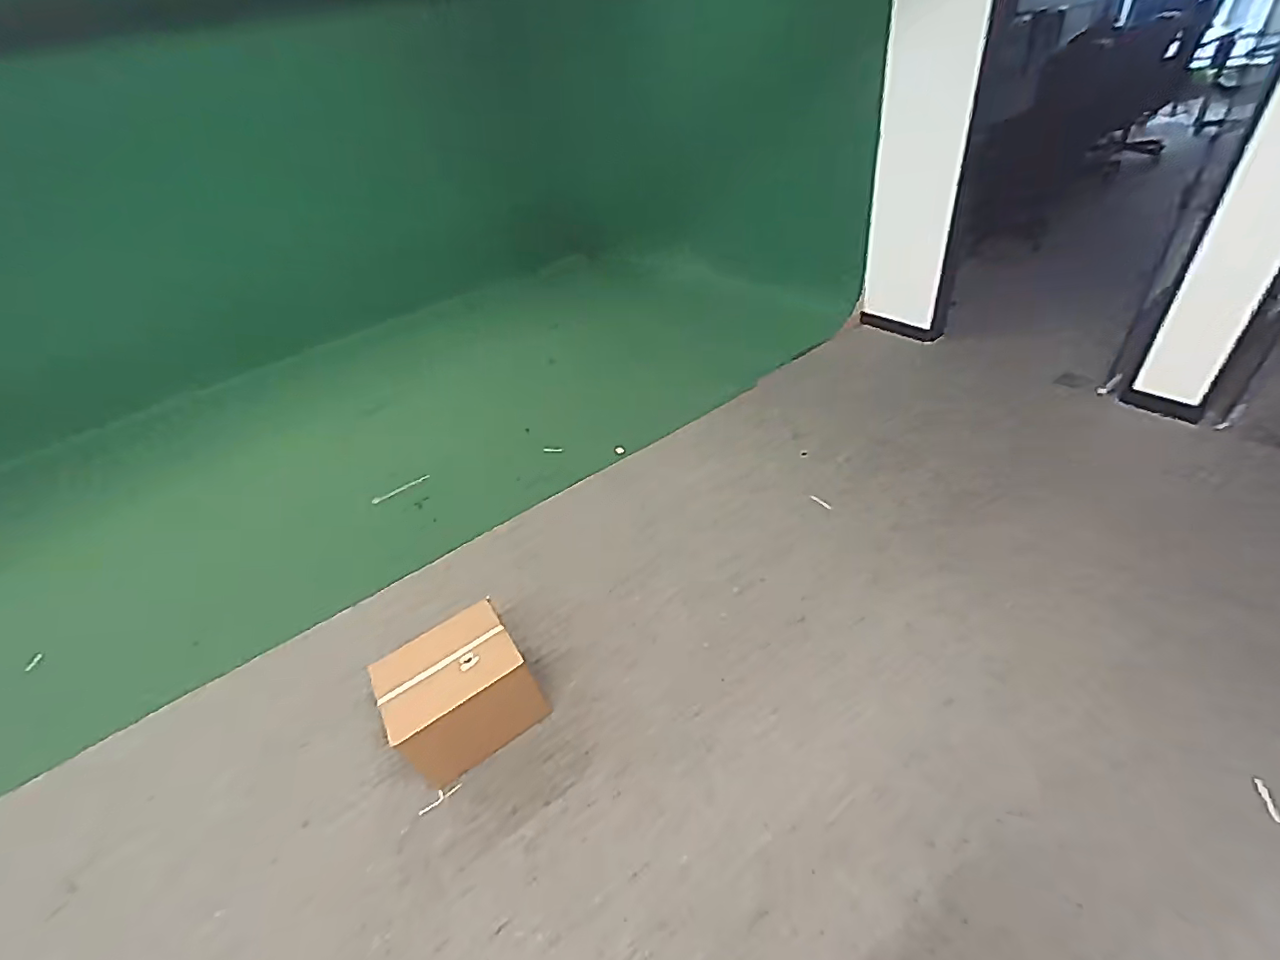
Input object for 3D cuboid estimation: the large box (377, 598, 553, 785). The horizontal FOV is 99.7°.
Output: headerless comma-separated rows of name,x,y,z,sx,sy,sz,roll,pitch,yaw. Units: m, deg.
large box,-0.550,0.667,1.728,0.408,0.320,0.320,-29,42,-20
